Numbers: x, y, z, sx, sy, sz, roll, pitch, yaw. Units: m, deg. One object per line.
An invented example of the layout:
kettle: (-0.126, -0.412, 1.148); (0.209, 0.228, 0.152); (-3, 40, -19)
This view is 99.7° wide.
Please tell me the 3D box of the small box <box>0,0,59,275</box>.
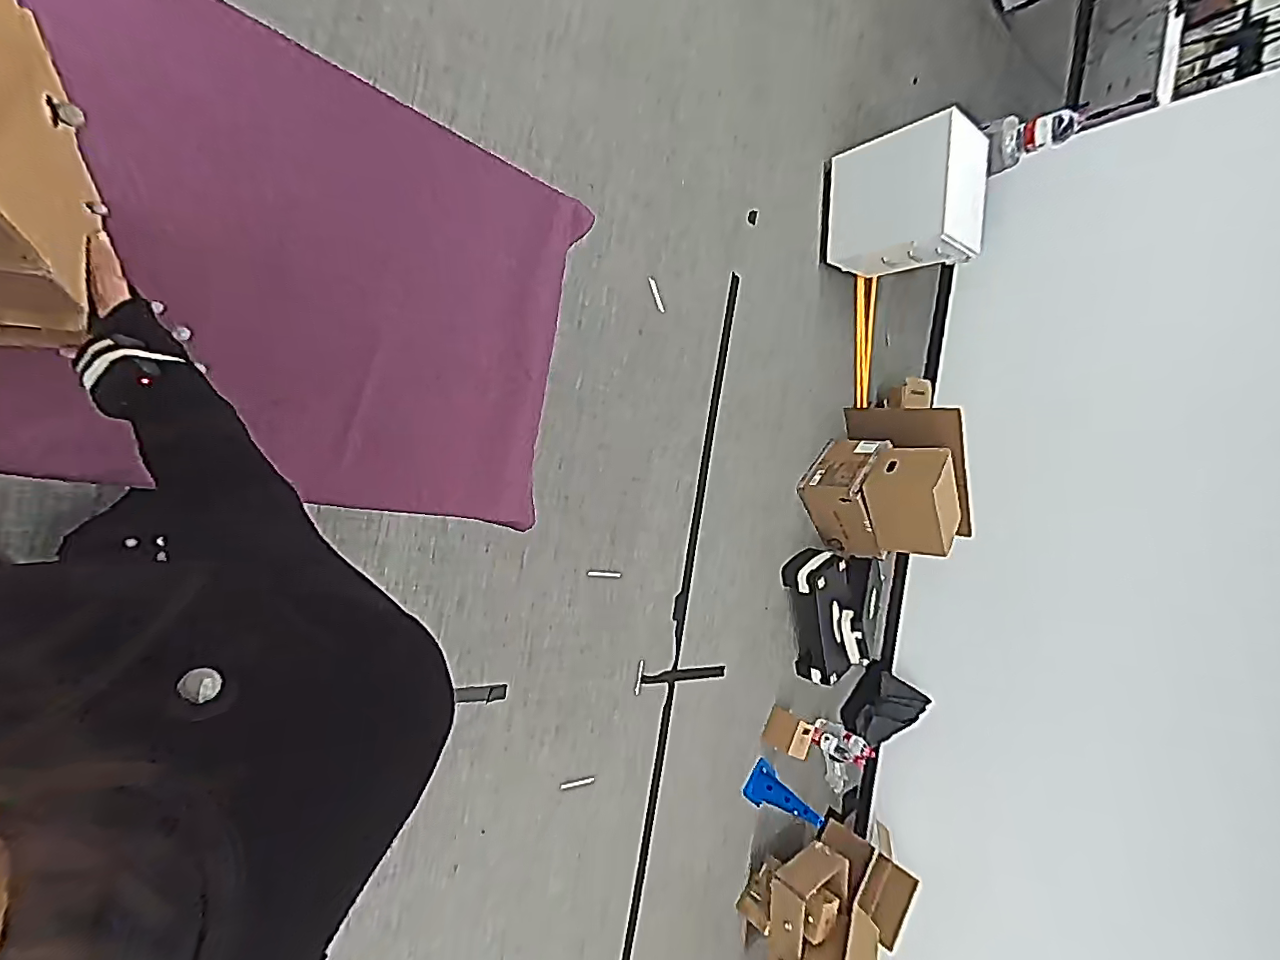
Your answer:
small box: (-0.419, -0.210, 0.256); (0.168, 0.176, 0.179); (-7, 97, -38)

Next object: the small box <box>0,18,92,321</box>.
small box: (-0.519, -0.224, 0.383); (0.168, 0.176, 0.179); (-3, 96, -39)
